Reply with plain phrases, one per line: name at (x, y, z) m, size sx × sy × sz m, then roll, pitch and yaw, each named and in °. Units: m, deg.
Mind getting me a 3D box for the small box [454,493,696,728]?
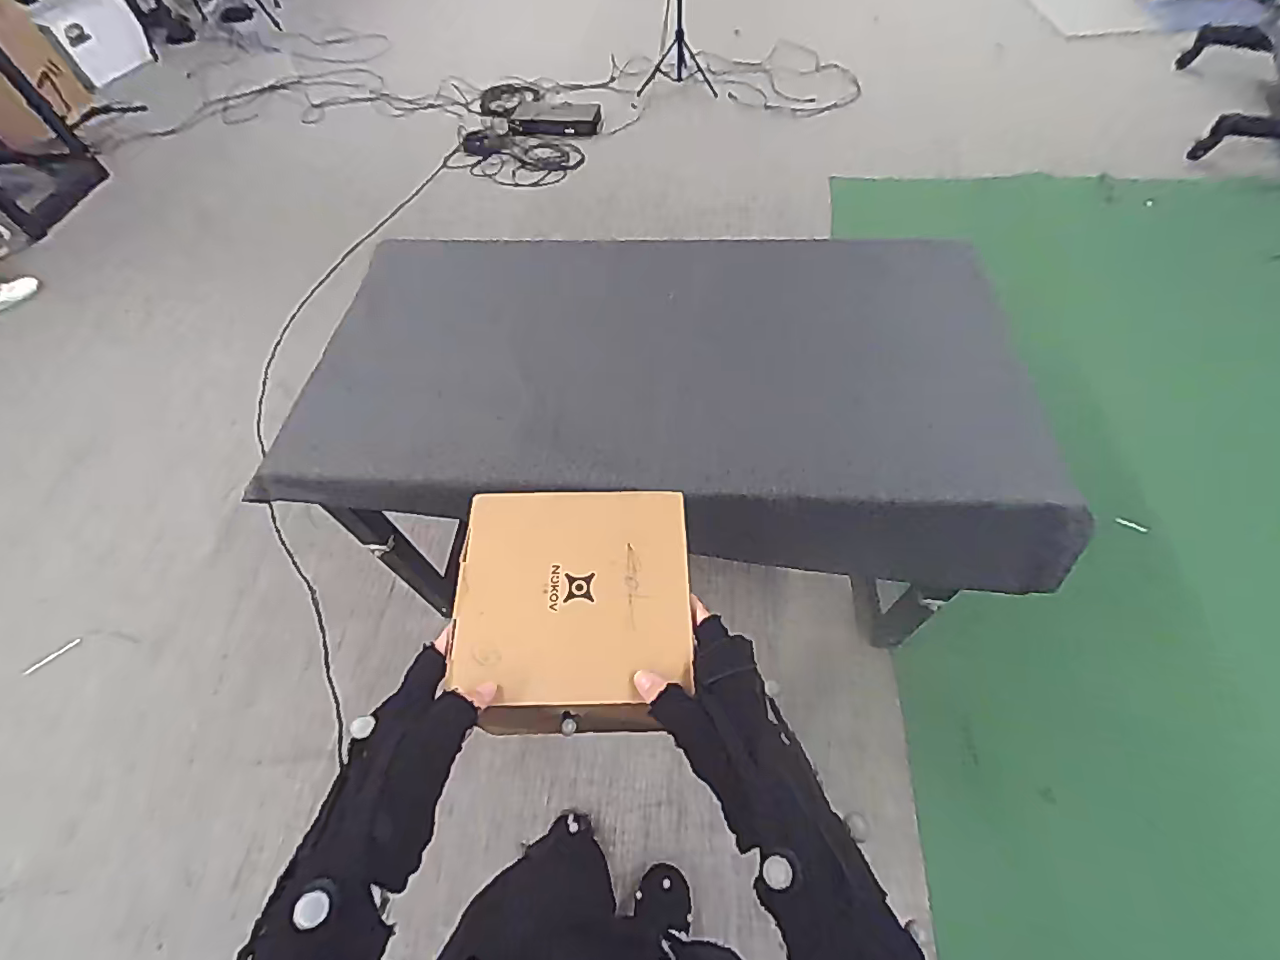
small box at (-0.050, 0.124, 0.491) m, size 0.179 × 0.176 × 0.168 m, roll -1°, pitch 59°, yaw -3°
